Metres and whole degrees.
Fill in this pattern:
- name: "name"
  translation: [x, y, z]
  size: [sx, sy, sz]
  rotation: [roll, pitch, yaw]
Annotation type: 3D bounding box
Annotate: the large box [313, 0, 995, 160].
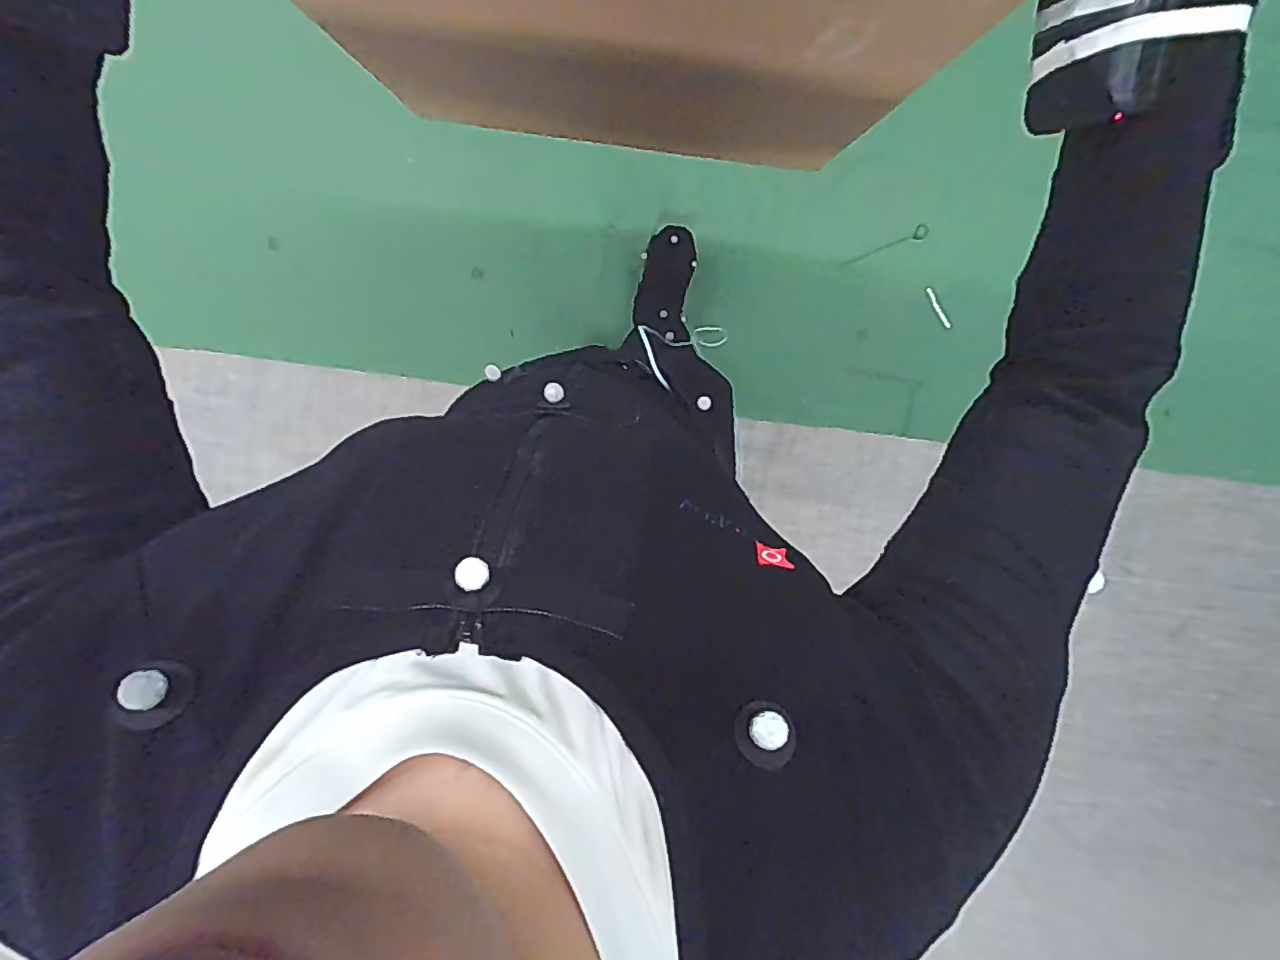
- name: "large box"
  translation: [0.001, -0.441, 0.356]
  size: [0.408, 0.320, 0.320]
  rotation: [6, 107, -2]
